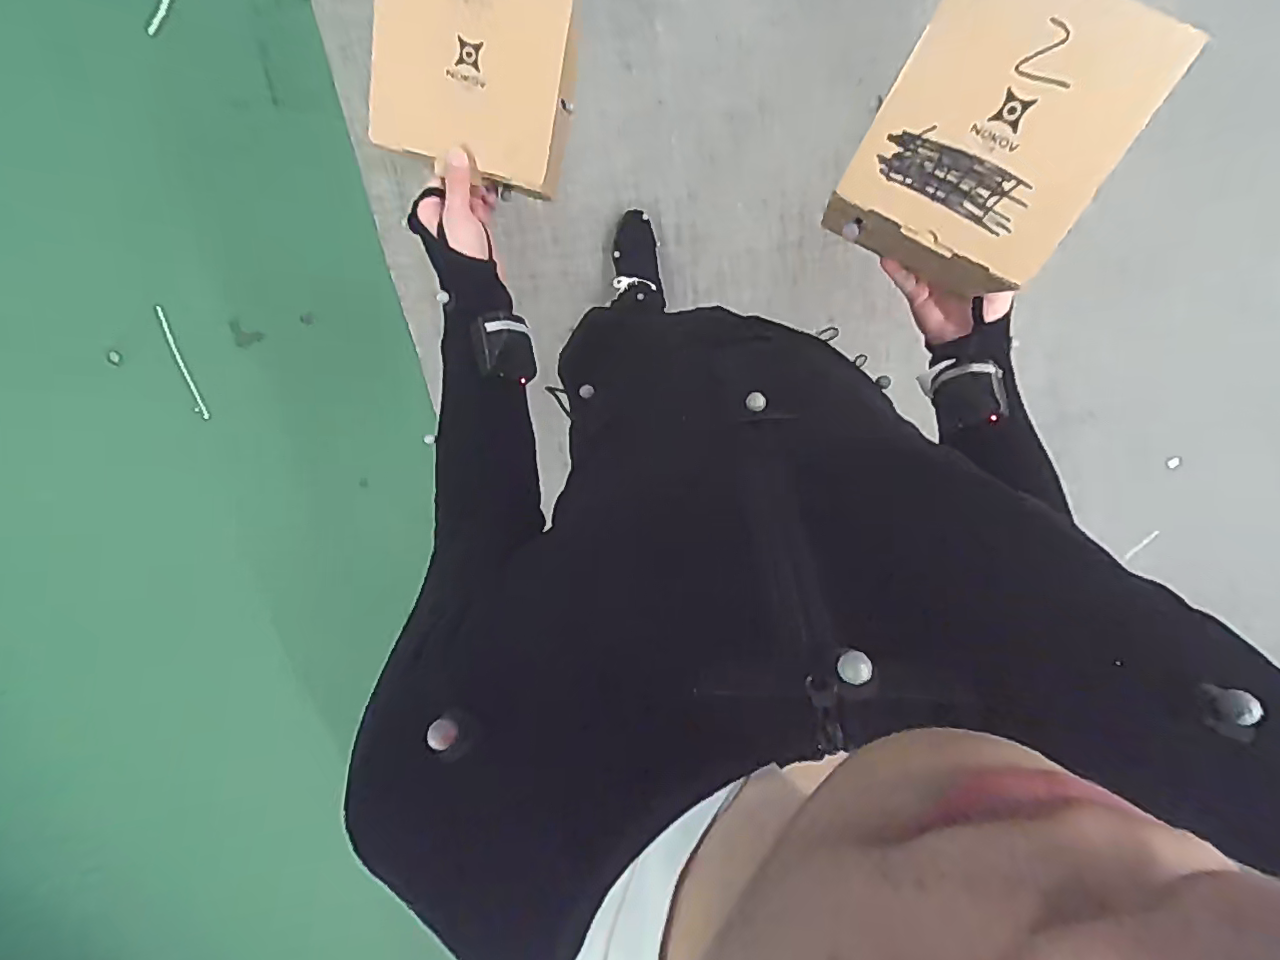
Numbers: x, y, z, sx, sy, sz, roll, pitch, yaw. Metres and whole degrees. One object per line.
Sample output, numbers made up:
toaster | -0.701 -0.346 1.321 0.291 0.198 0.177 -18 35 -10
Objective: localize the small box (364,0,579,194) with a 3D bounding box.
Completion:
small box | -0.160 -0.412 0.555 0.168 0.176 0.179 13 111 -10
